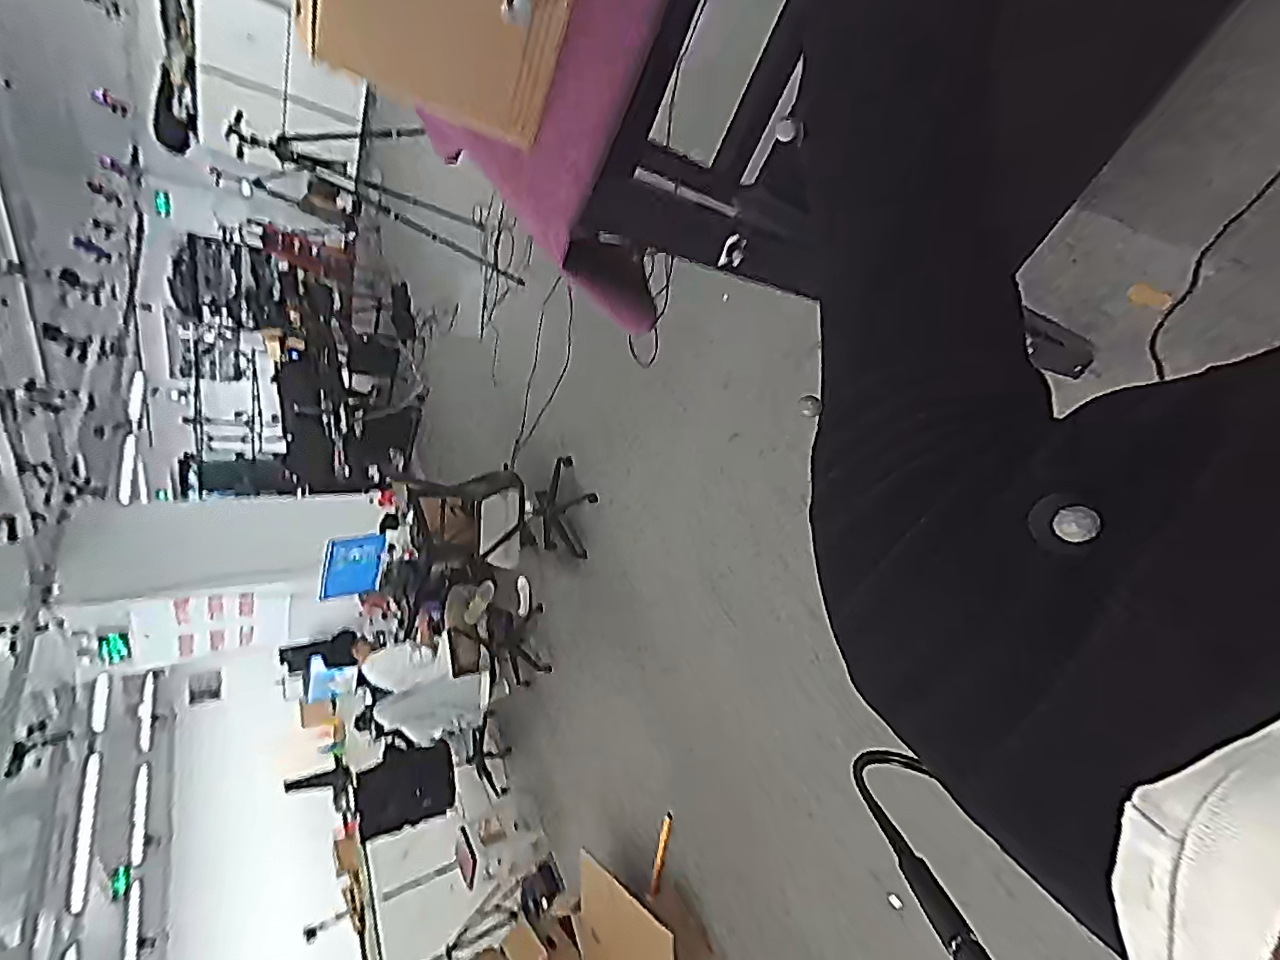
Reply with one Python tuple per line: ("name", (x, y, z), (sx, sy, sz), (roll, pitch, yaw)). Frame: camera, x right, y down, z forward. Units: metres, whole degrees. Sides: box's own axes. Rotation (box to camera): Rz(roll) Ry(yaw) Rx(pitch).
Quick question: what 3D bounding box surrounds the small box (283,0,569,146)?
("small box", (-0.161, -0.400, 0.416), (0.168, 0.176, 0.179), (53, 129, 38))
